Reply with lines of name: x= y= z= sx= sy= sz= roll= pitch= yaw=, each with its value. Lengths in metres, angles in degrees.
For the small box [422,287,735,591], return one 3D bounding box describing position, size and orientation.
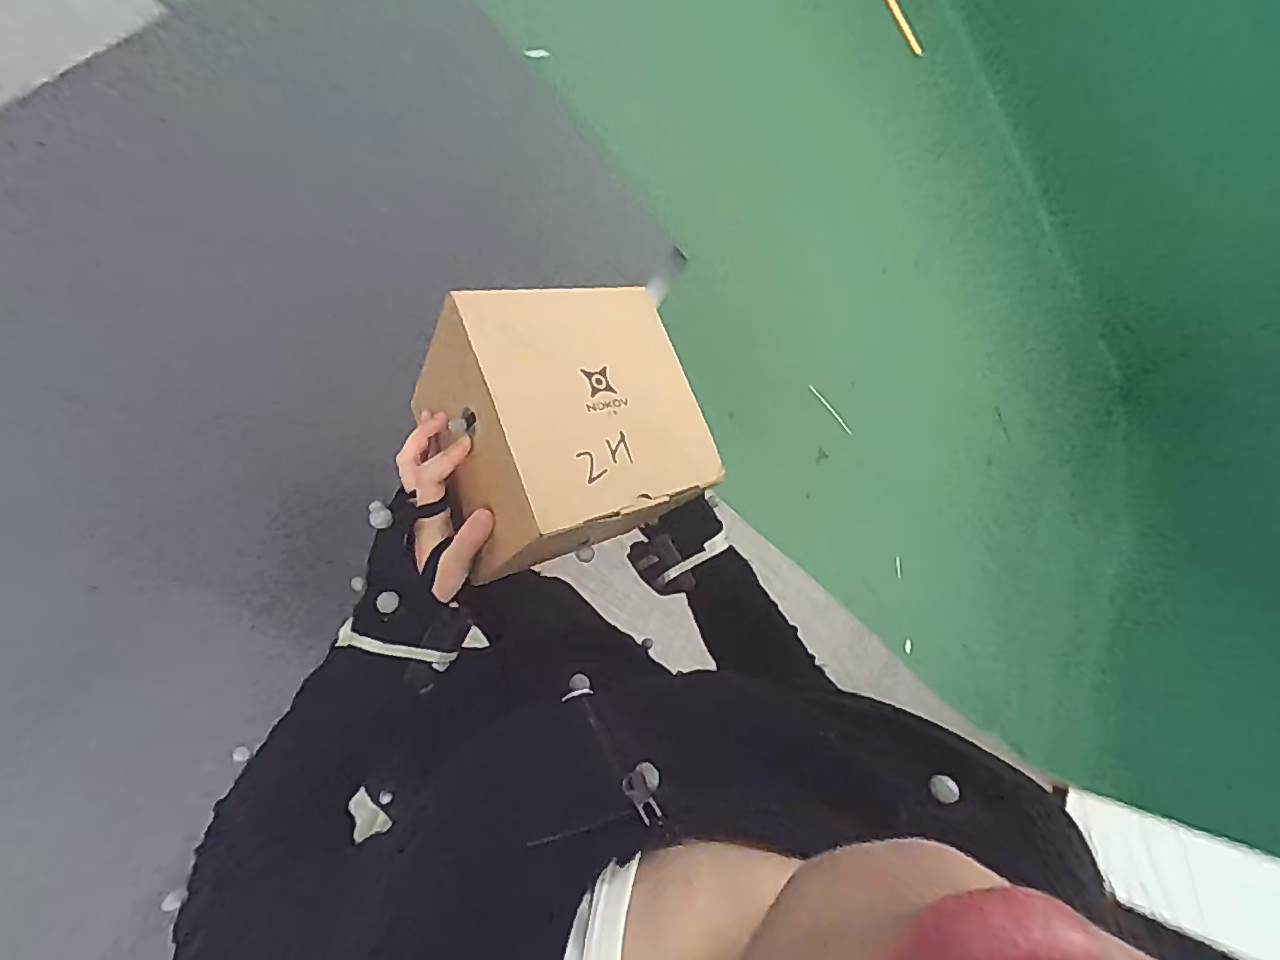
small box: x=-0.062 y=-0.028 z=0.437 sx=0.168 sy=0.176 sz=0.179 roll=-13 pitch=76 yaw=-36
